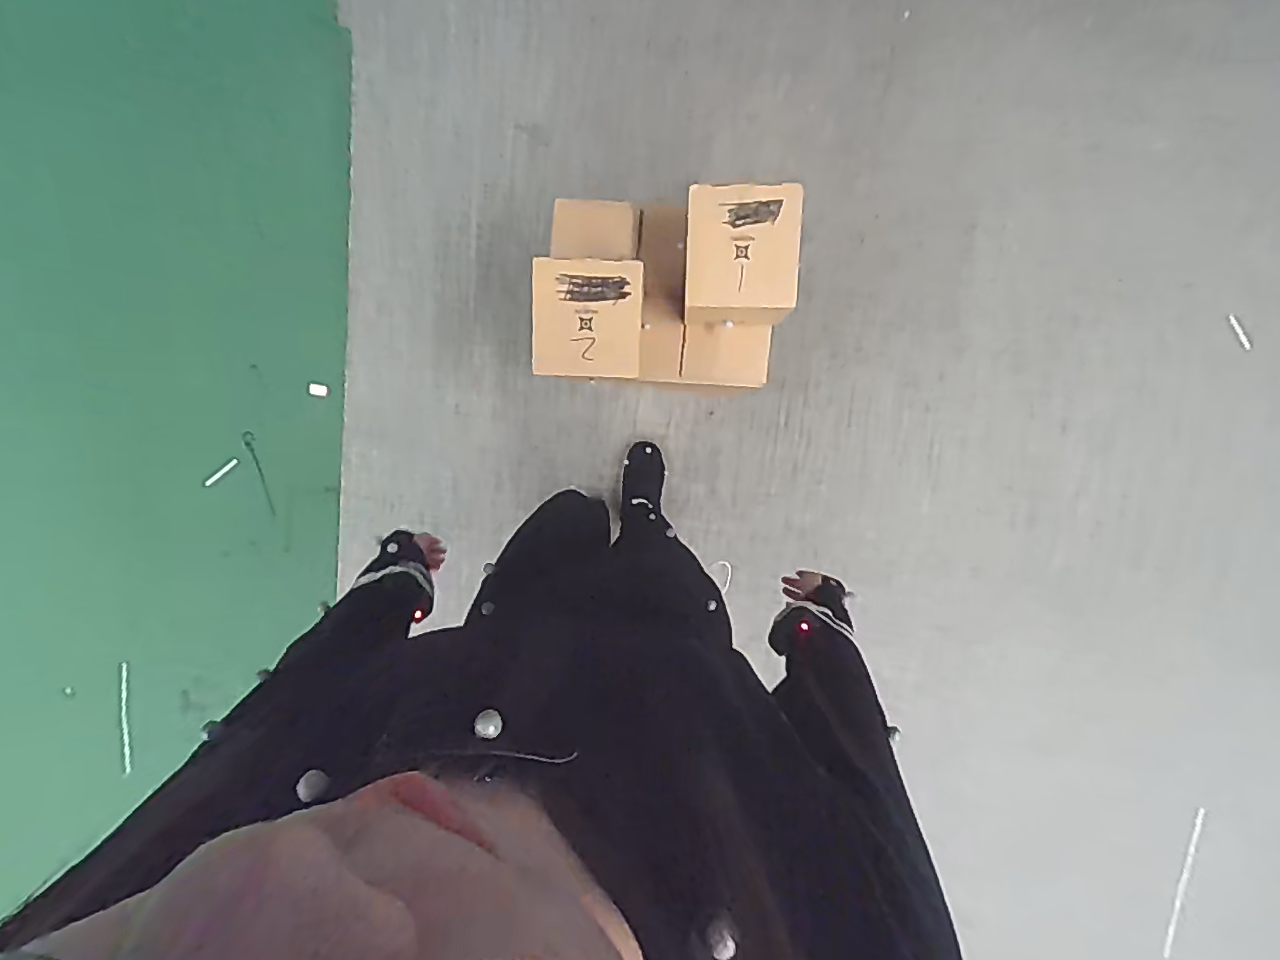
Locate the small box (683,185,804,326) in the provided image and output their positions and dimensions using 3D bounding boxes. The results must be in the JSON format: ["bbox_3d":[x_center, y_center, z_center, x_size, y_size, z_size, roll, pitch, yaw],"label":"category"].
[{"bbox_3d":[0.157,-0.354,0.878,0.168,0.176,0.179,3,100,4],"label":"small box"}]
